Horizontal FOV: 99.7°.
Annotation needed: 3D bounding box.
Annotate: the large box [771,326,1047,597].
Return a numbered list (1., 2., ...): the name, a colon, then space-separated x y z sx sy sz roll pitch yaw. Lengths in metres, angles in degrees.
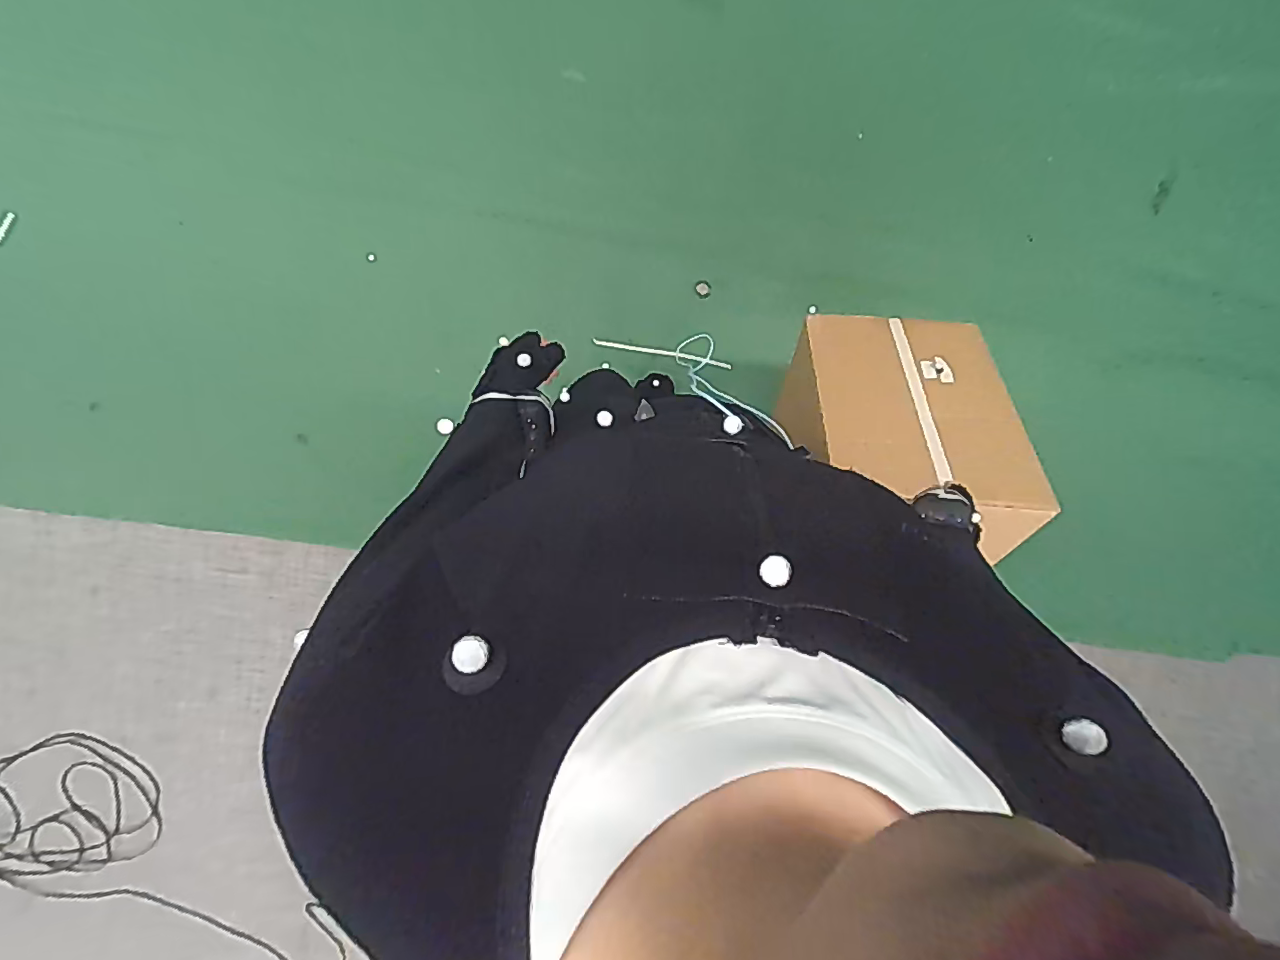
1. large box: 0.441 -0.031 1.007 0.320 0.408 0.320 4 144 1
